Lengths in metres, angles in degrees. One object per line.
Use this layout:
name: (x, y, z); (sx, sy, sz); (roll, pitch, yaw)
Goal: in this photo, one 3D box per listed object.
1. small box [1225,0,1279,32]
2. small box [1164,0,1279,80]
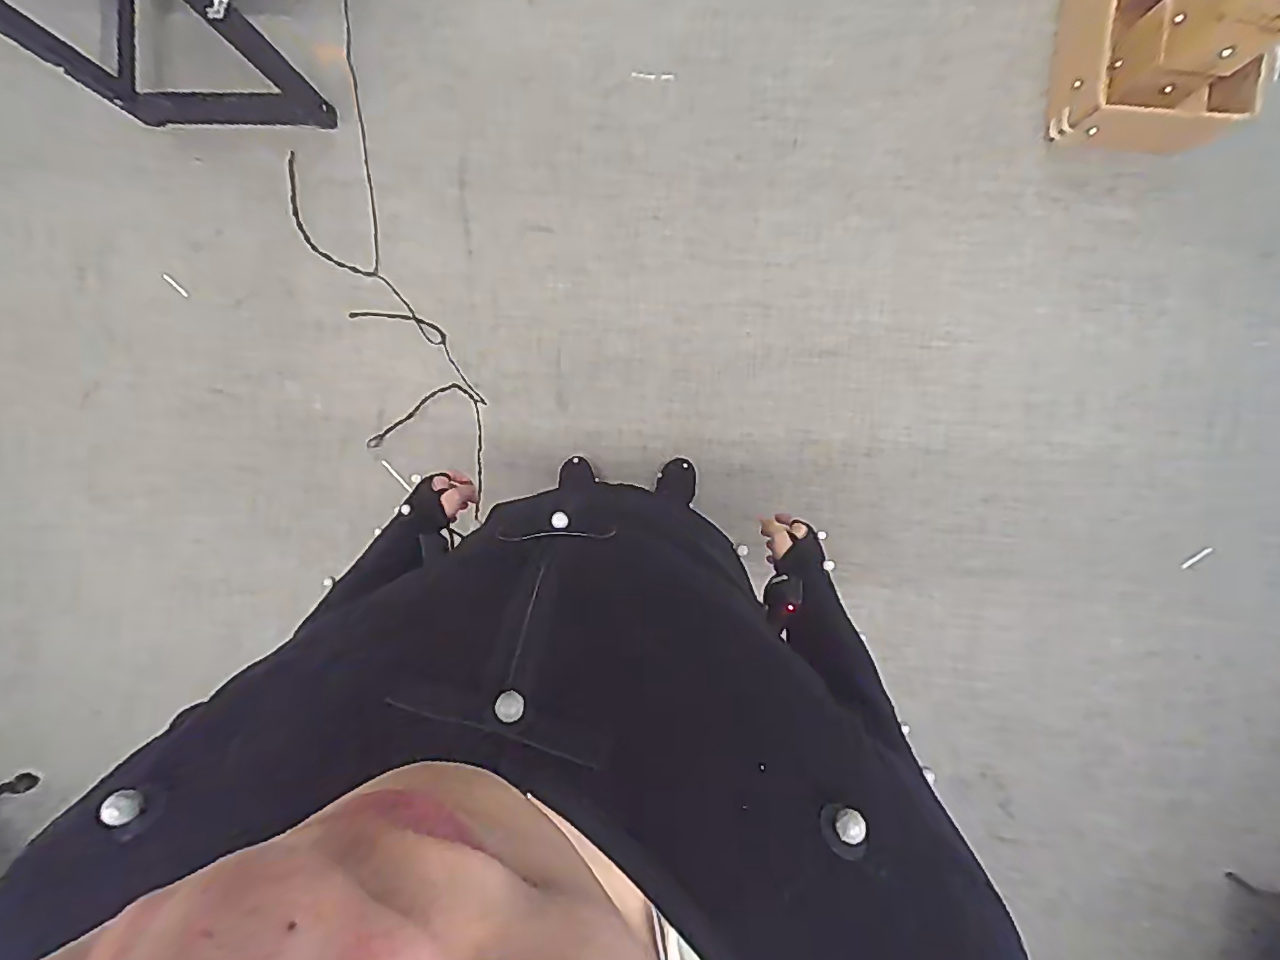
small box: (1.341, -1.044, 1.071); (0.168, 0.176, 0.179); (16, 93, 2)
small box: (1.363, -1.061, 1.235); (0.168, 0.176, 0.179); (8, 93, 2)
